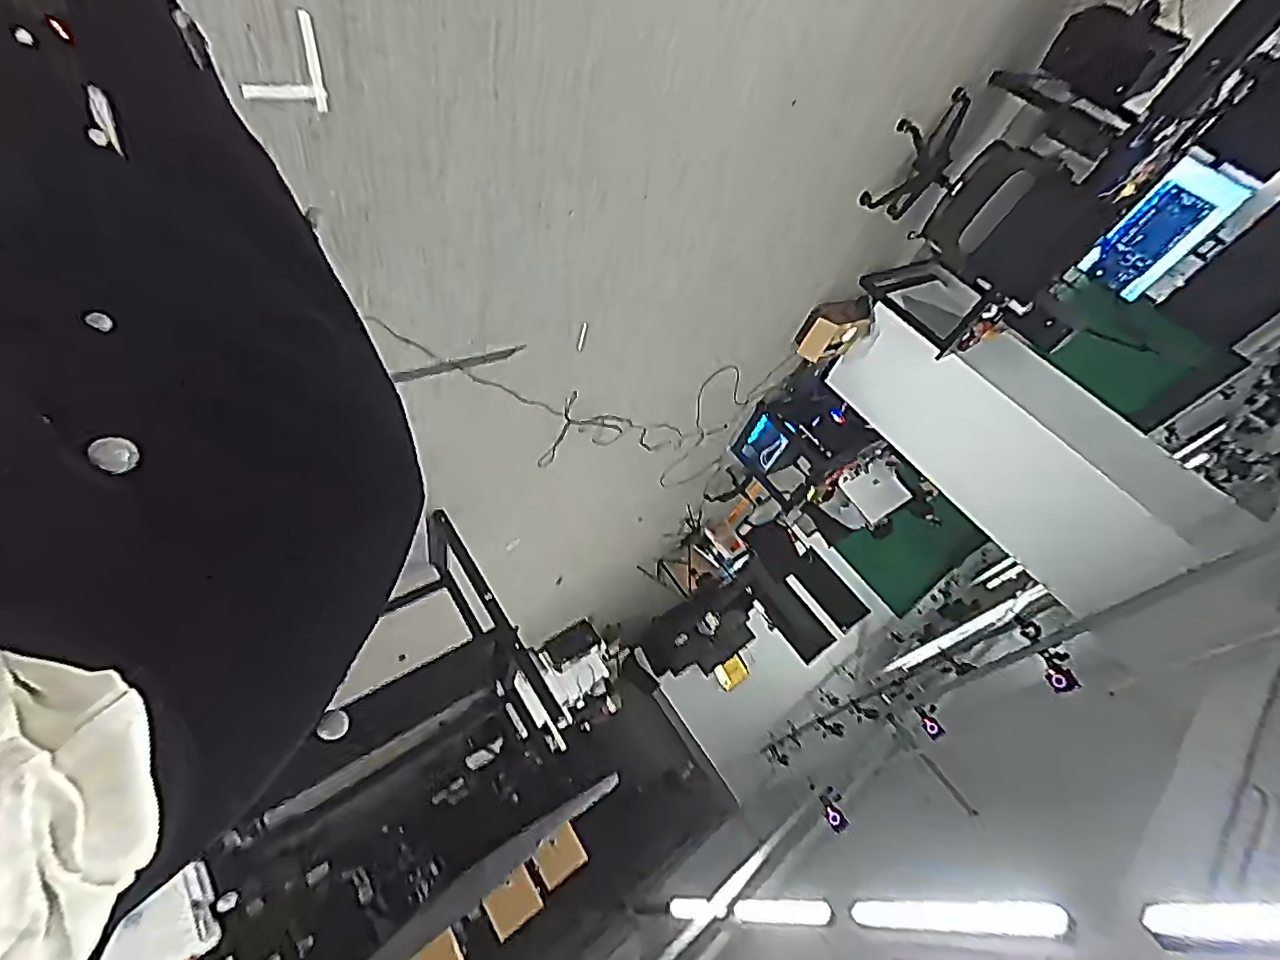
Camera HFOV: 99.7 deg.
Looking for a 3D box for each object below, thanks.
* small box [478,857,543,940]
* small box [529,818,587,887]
[{"bbox_3d":[-0.465,1.483,1.928,0.168,0.176,0.179,-27,157,-29],"label":"small box"},{"bbox_3d":[-0.352,1.570,2.277,0.179,0.176,0.168,-24,154,-31],"label":"small box"}]
